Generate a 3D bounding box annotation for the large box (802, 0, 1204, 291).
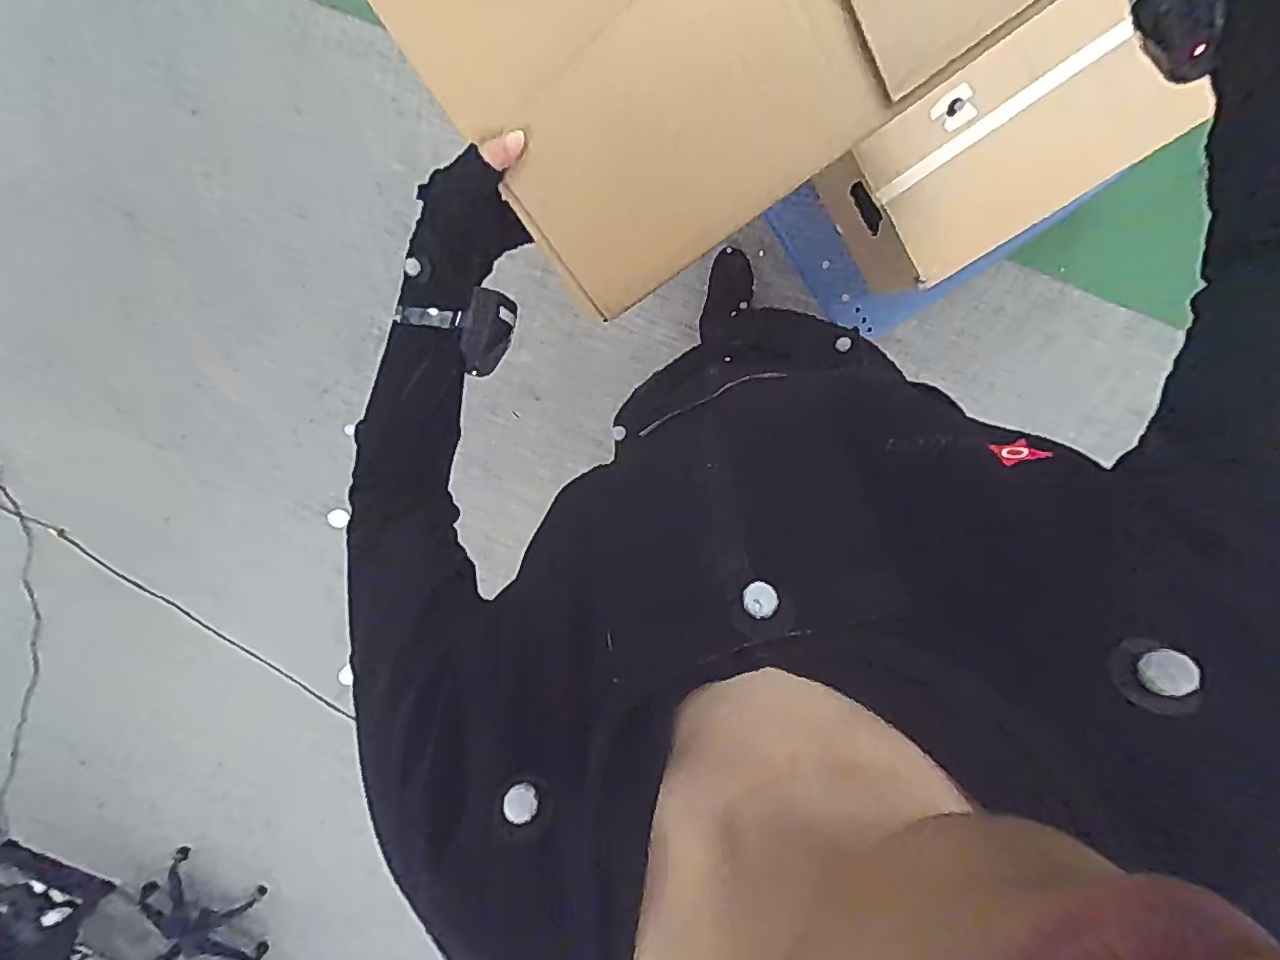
[{"bbox_3d":[0.533,-0.561,0.888,0.408,0.320,0.320,-31,100,18],"label":"large box"}]
